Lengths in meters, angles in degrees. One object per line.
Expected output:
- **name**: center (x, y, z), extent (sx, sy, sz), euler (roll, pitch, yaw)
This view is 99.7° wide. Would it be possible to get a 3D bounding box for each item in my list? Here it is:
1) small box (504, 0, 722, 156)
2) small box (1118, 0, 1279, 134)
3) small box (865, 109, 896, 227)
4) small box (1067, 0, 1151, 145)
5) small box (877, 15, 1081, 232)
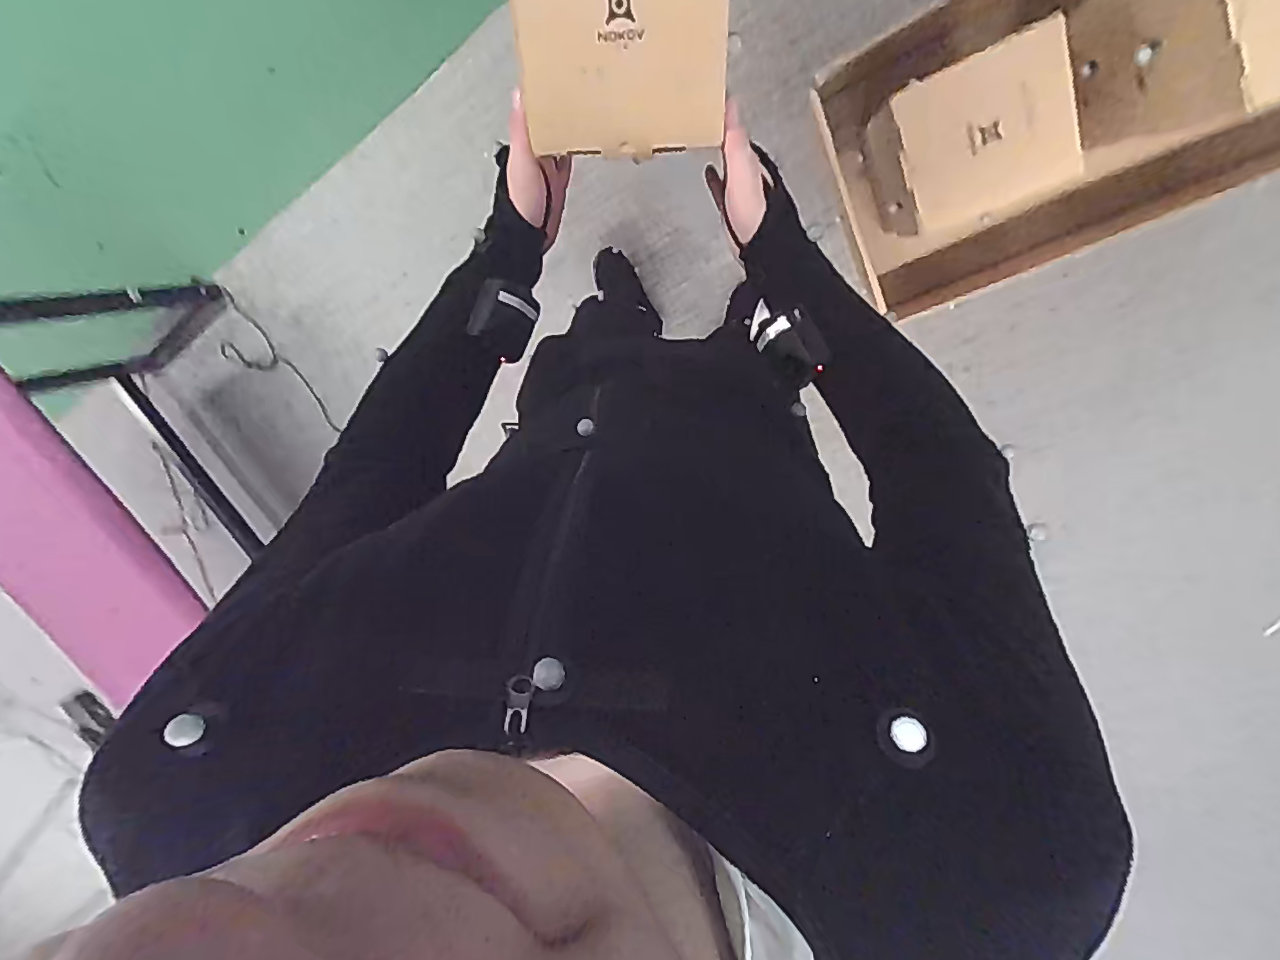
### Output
- **small box**: center (-0.012, -0.399, 0.470), extent (0.168, 0.176, 0.179), euler (1, 128, 6)
- **small box**: center (0.572, -0.439, 0.470), extent (0.179, 0.176, 0.168), euler (-20, 107, 25)
- **small box**: center (0.459, -0.506, 0.834), extent (0.179, 0.176, 0.168), euler (-18, 108, 20)
- **small box**: center (0.629, -0.510, 0.608), extent (0.179, 0.176, 0.168), euler (-18, 108, 25)
- **small box**: center (0.417, -0.432, 0.694), extent (0.179, 0.176, 0.168), euler (-16, 109, 20)
